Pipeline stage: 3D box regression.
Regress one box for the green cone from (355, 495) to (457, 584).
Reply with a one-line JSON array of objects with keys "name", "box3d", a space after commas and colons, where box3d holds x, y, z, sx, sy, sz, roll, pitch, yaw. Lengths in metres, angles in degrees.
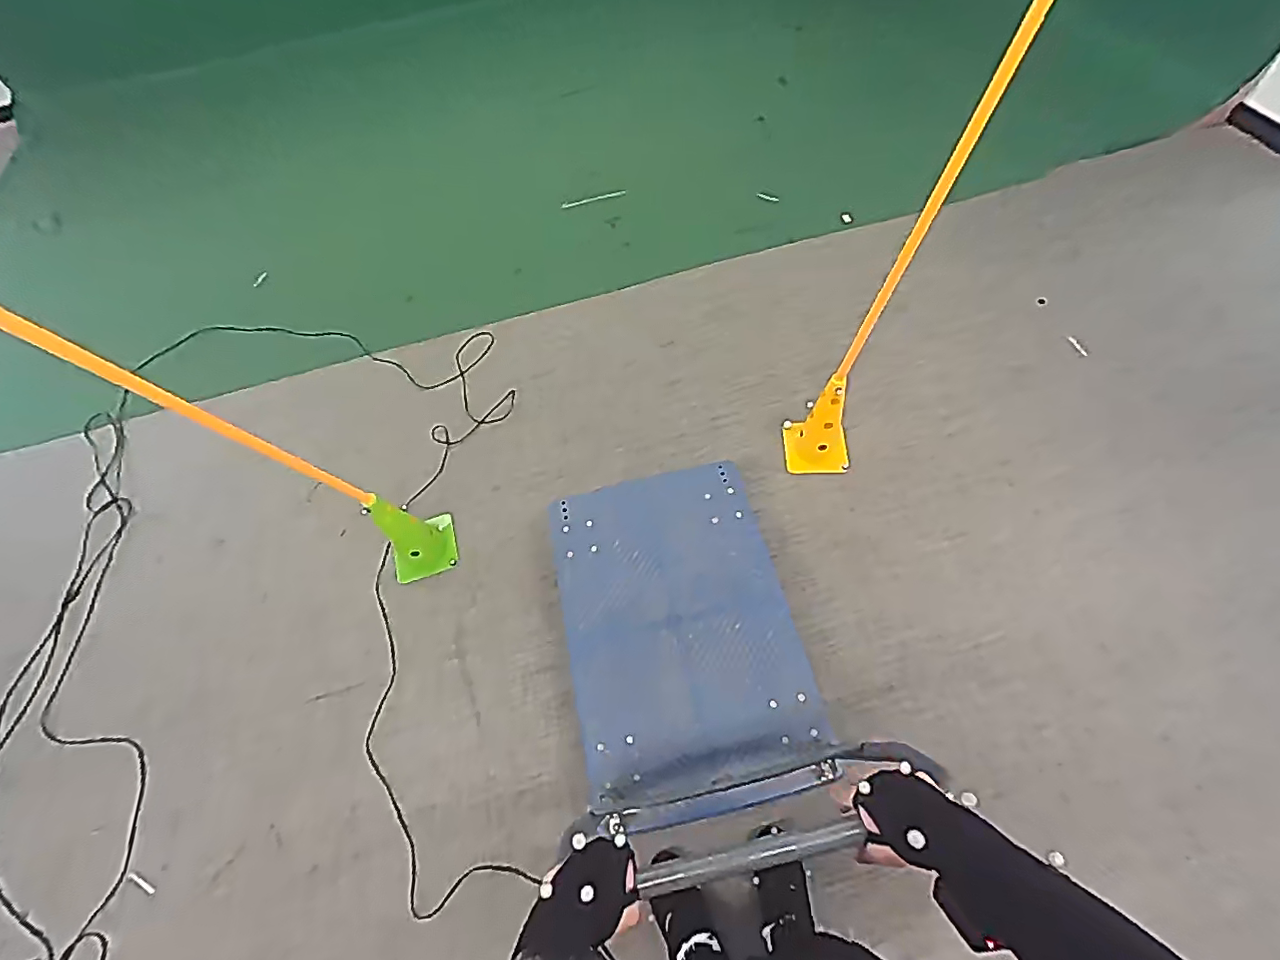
[{"name": "green cone", "box3d": [-0.725, 0.139, 1.616, 0.202, 0.368, 0.200, -20, 60, -3]}]
